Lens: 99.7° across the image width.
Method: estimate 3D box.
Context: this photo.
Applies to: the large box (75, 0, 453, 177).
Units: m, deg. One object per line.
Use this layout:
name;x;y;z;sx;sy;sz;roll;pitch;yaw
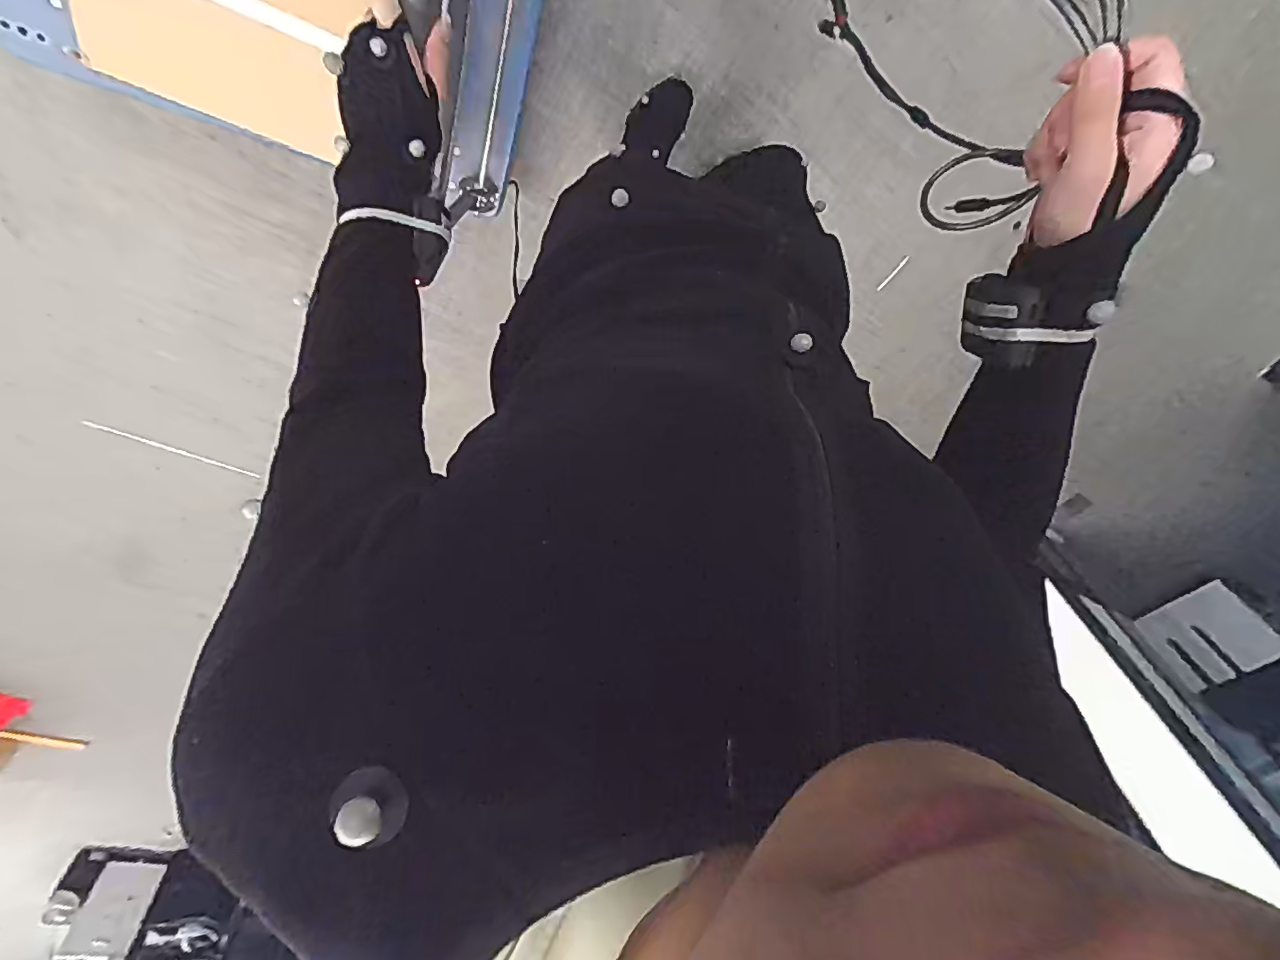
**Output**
large box;-0.523;-0.730;0.817;0.408;0.320;0.320;15;129;-17
